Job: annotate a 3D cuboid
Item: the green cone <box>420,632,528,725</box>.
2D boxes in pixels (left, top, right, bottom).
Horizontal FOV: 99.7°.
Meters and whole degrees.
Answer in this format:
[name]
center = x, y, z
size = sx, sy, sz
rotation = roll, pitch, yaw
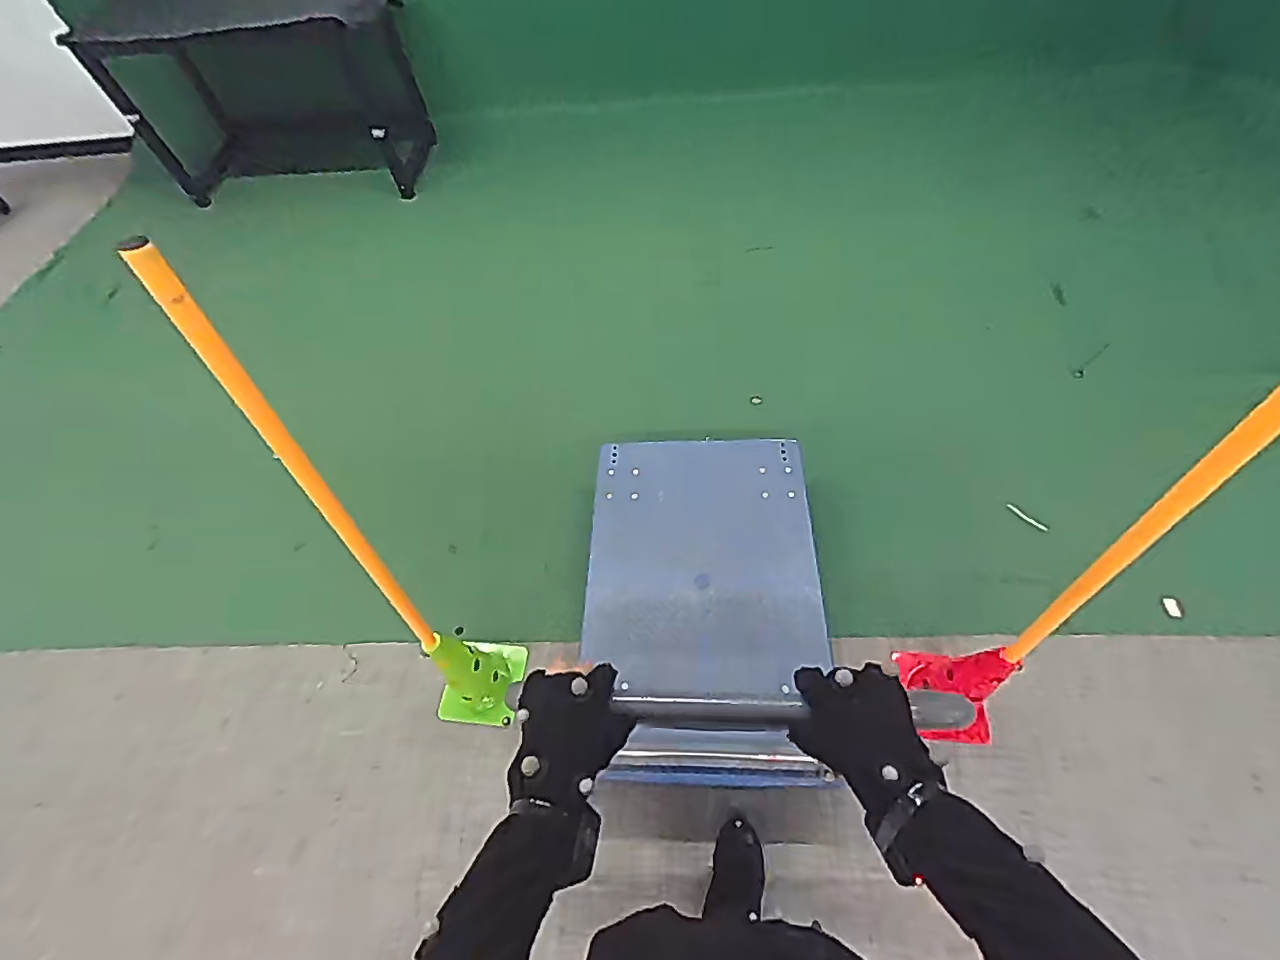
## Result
[green cone]
center = -0.420, 0.434, 1.277
size = 0.202, 0.368, 0.200
rotation = 2, 56, 8
